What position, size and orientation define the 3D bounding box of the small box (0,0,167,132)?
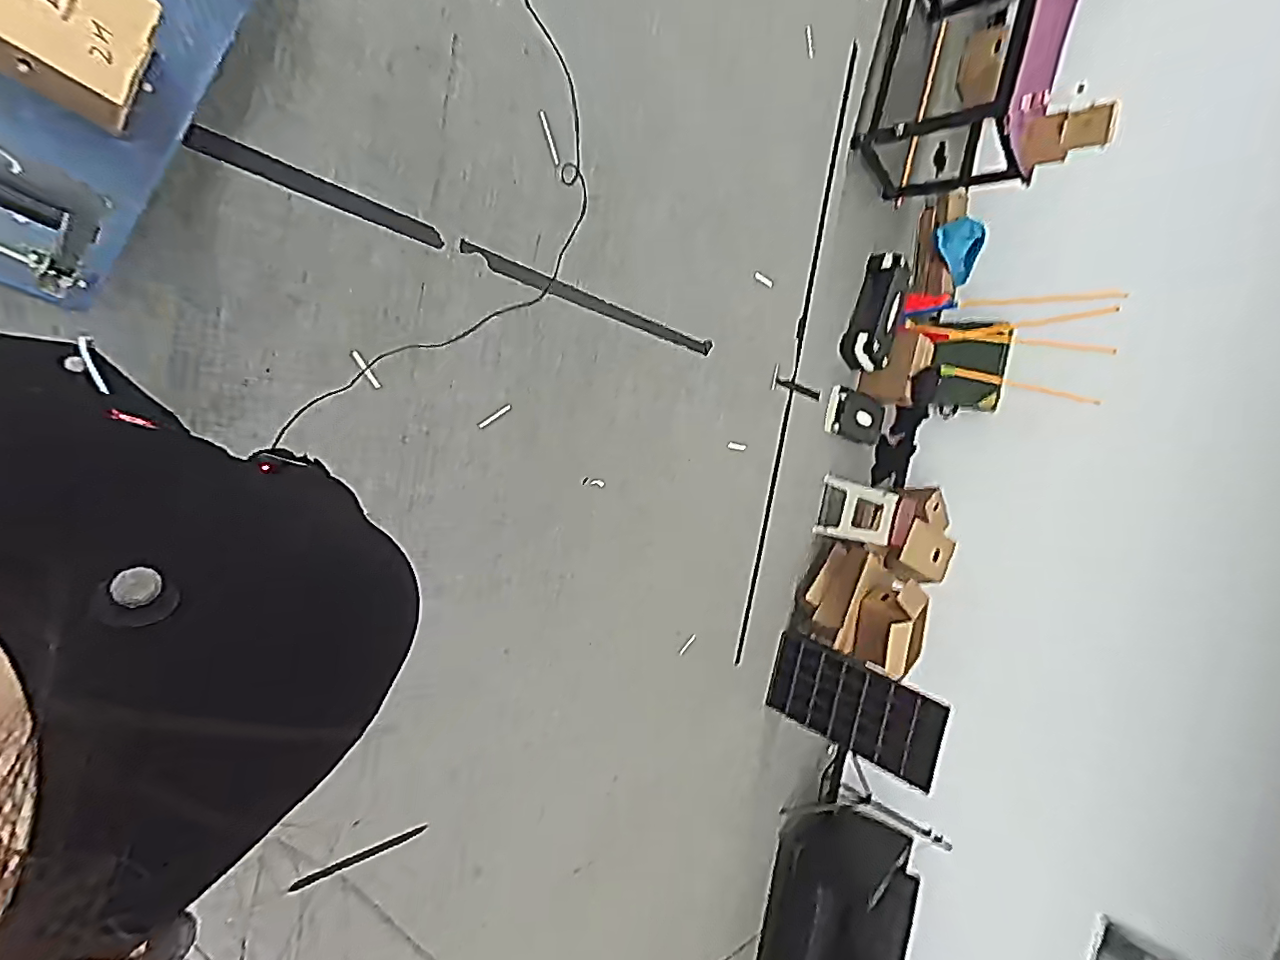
[{"bbox_3d":[-0.828,-0.643,0.776,0.179,0.176,0.168,22,84,-47],"label":"small box"}]
